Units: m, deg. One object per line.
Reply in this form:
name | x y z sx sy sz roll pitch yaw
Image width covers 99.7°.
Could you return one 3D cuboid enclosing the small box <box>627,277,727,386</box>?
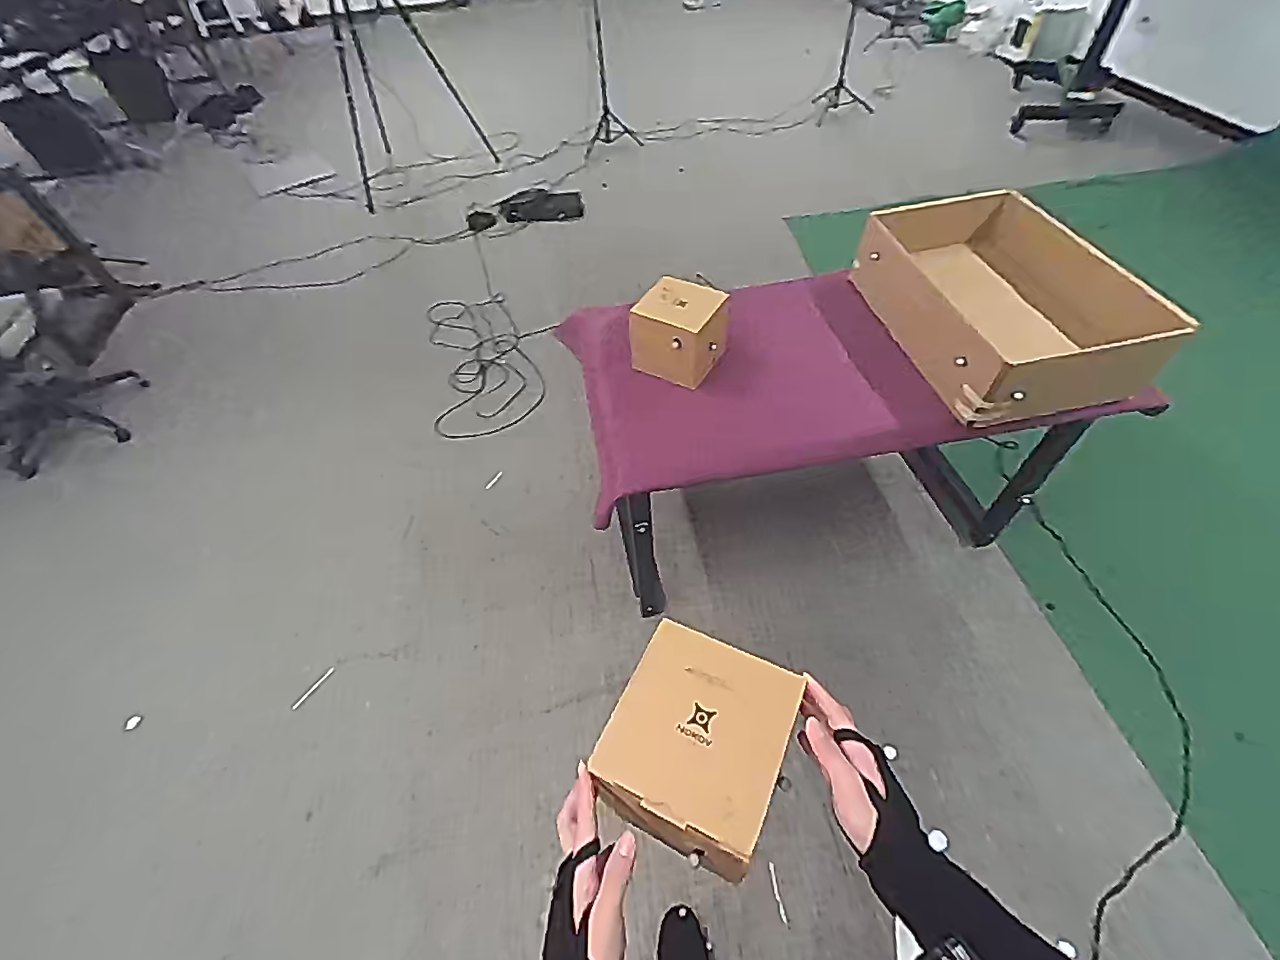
small box | 0.089 -0.349 1.289 0.179 0.176 0.168 24 56 21
